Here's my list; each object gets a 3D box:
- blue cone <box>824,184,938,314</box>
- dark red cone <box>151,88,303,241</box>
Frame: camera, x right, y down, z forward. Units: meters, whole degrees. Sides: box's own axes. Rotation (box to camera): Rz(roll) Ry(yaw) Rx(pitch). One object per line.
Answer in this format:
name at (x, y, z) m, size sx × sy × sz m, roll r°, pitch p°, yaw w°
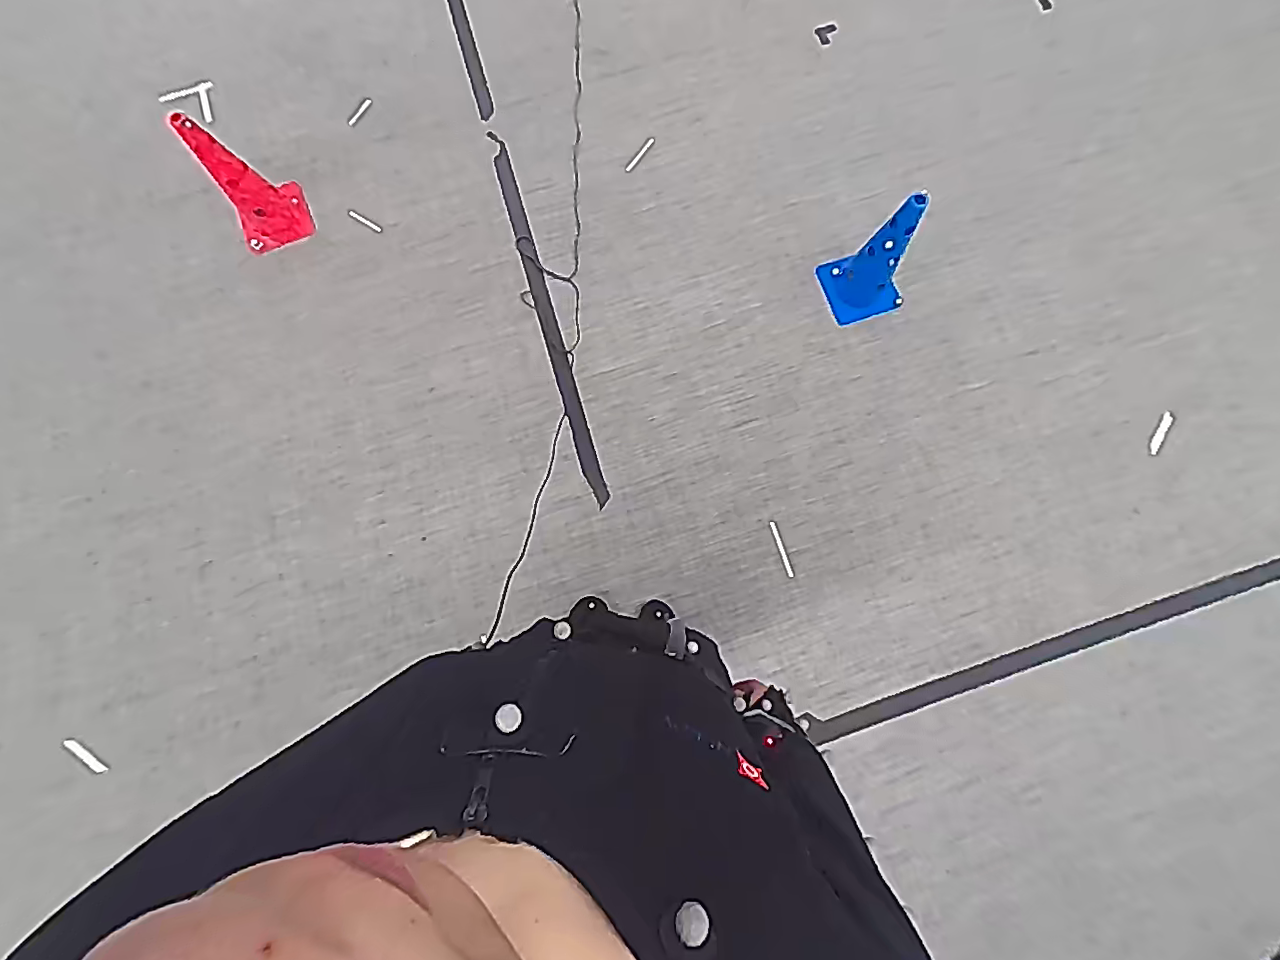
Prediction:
blue cone at (0.635, -0.604, 1.383) m, size 0.192 × 0.380 × 0.193 m, roll -16°, pitch 78°, yaw -4°
dark red cone at (-1.108, -0.844, 1.433) m, size 0.201 × 0.394 × 0.202 m, roll -25°, pitch 79°, yaw -5°
